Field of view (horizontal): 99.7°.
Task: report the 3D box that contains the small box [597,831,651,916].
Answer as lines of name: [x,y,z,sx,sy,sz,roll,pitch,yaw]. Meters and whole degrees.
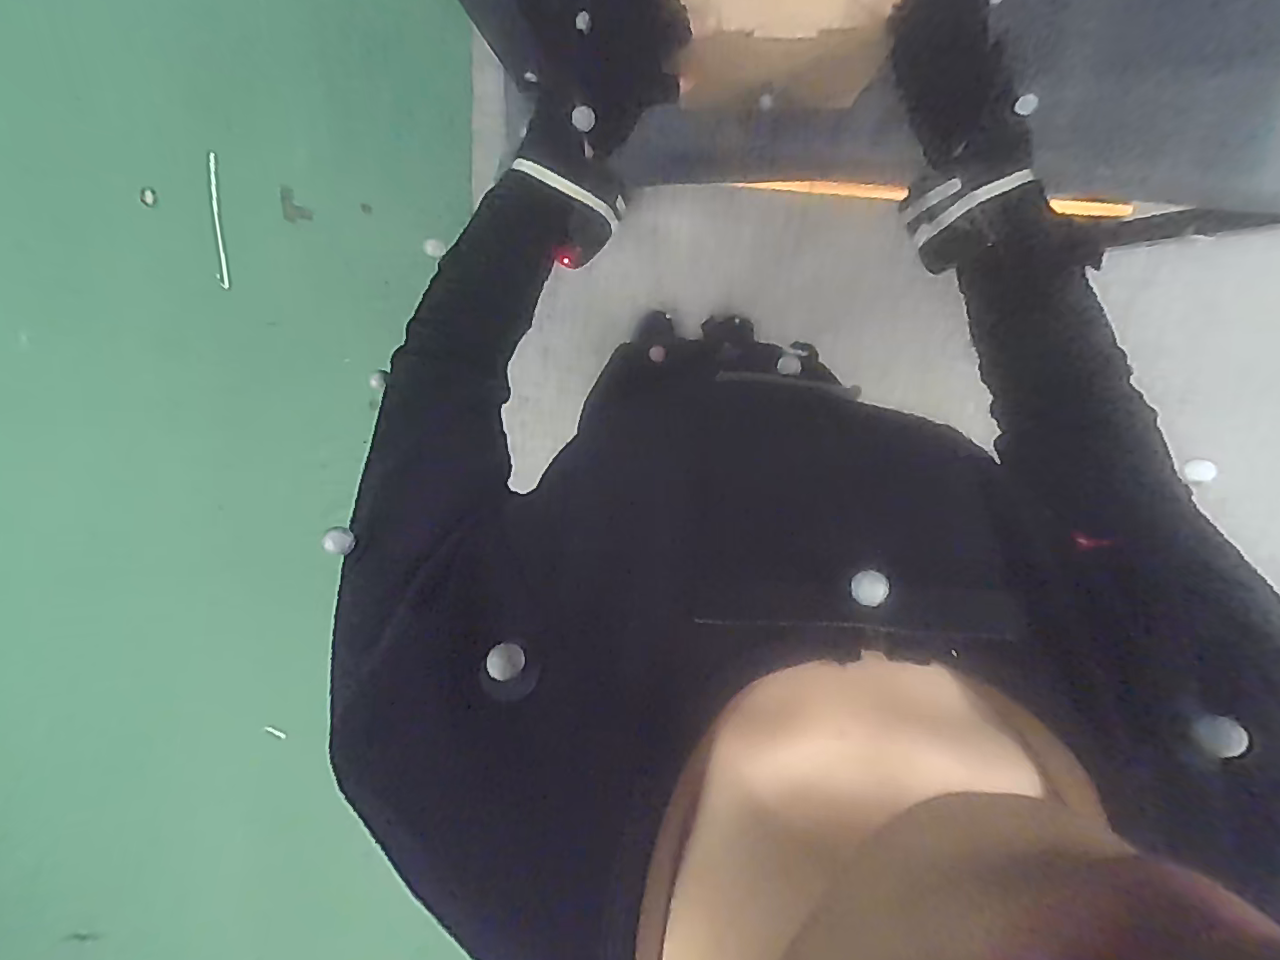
small box: [-0.049,1.319,1.822,0.168,0.176,0.179,-1,107,4]

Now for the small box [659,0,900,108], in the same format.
small box: [0.106,-0.421,0.423,0.168,0.176,0.179,4,110,6]
